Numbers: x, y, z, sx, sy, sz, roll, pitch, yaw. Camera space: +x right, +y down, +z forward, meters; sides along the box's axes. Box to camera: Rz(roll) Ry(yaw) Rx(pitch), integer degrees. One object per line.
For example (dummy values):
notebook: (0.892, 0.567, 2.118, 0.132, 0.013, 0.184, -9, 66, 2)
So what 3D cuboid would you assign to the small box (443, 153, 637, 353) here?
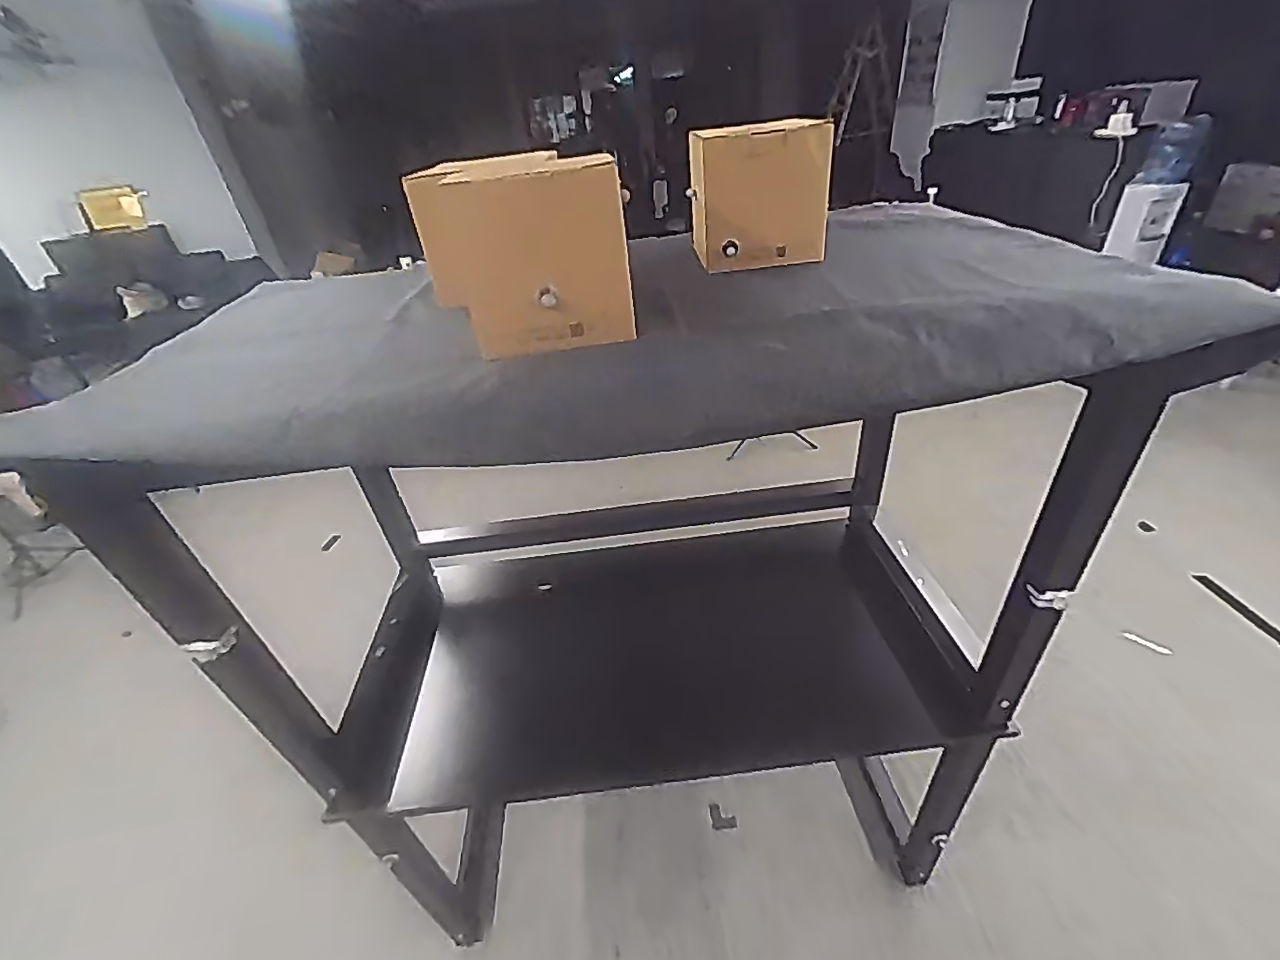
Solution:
small box: (-0.097, -0.253, 0.597, 0.168, 0.176, 0.179, -8, 34, -1)

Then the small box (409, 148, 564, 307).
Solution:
small box: (-0.191, -0.359, 0.769, 0.179, 0.176, 0.168, -4, 35, 4)

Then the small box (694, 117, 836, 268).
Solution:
small box: (0.172, -0.413, 0.784, 0.168, 0.176, 0.179, -5, 34, 2)
